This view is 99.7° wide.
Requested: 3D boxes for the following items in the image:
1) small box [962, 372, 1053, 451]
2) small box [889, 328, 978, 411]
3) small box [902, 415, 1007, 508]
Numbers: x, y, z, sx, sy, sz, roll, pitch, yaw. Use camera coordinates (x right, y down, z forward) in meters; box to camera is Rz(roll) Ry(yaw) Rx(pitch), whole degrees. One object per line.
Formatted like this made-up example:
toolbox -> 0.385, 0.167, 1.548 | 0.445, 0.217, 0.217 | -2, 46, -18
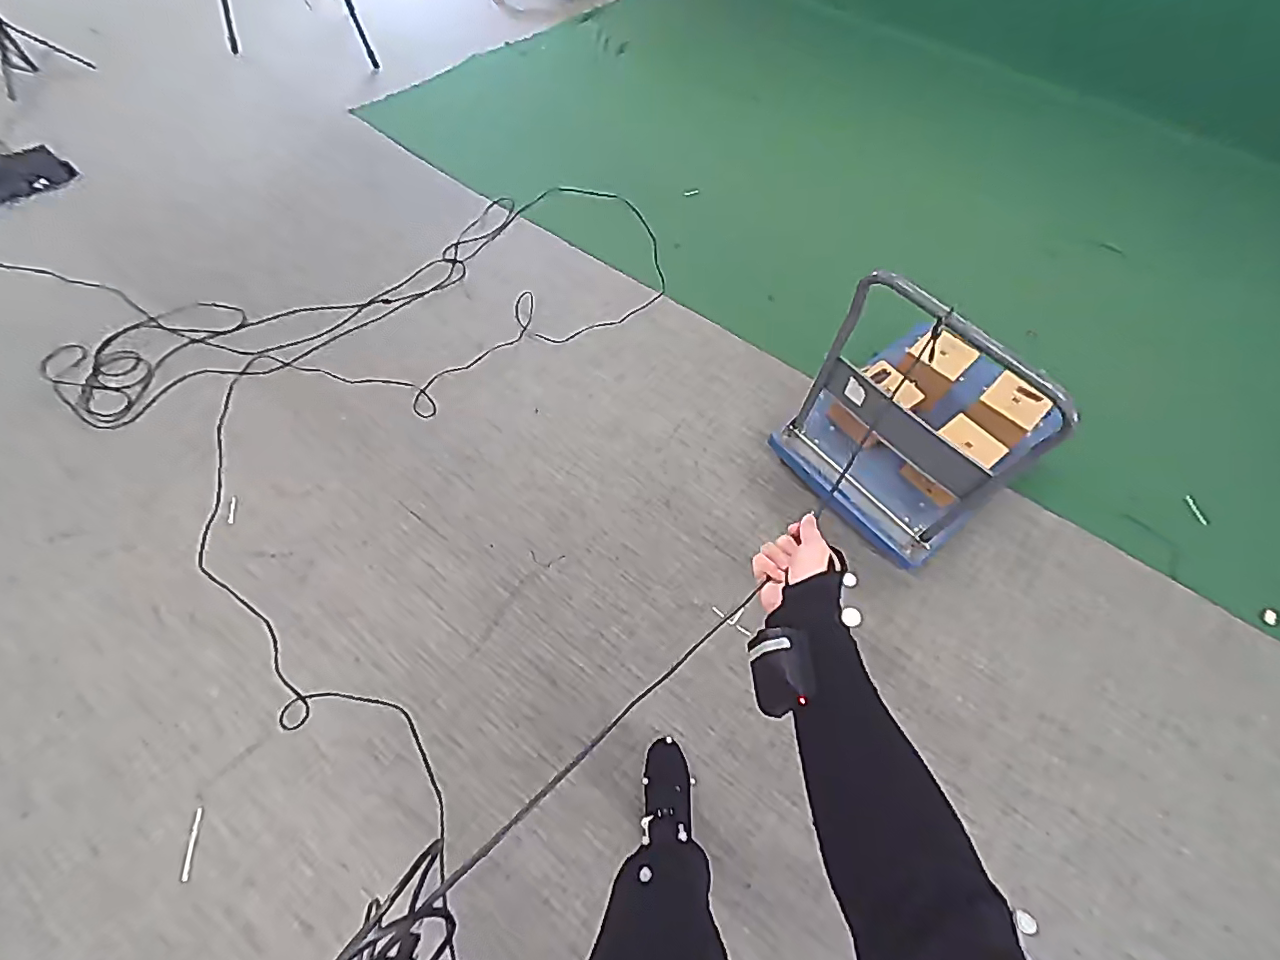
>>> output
small box -> 1.125, -0.197, 1.688 | 0.179, 0.176, 0.168 | -39, 68, -22
small box -> 0.951, -0.358, 1.774 | 0.179, 0.176, 0.168 | -38, 69, -22
small box -> 0.917, -0.052, 1.594 | 0.179, 0.176, 0.168 | -34, 67, -20
